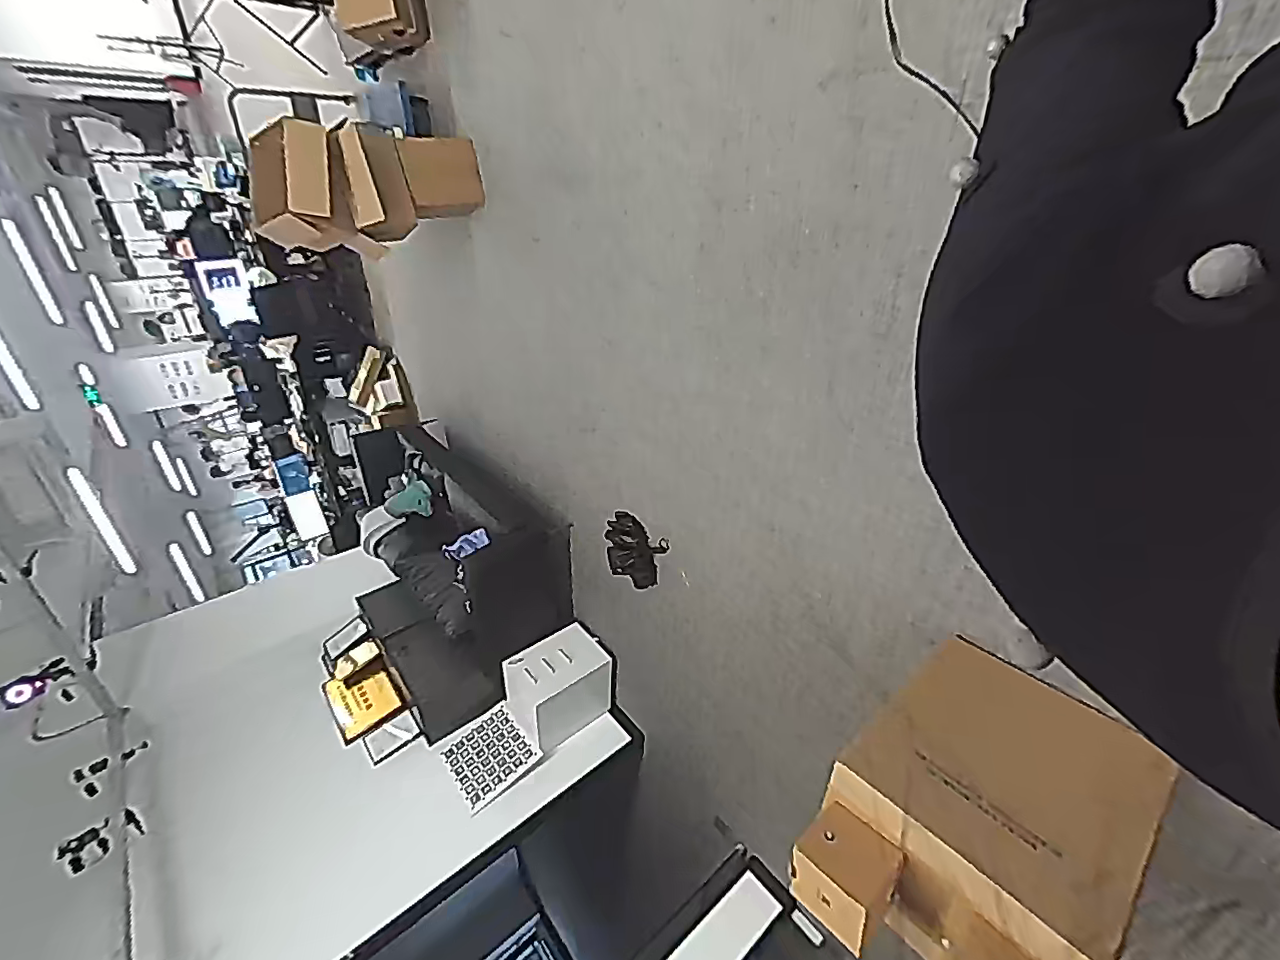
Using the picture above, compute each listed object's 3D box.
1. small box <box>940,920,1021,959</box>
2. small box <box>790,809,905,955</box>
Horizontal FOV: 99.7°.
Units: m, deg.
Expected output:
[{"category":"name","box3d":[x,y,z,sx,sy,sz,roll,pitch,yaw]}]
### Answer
[{"category":"small box","box3d":[0.652,0.991,1.009,0.179,0.176,0.168,34,130,41]},{"category":"small box","box3d":[0.464,0.885,1.217,0.179,0.176,0.168,21,123,46]}]
